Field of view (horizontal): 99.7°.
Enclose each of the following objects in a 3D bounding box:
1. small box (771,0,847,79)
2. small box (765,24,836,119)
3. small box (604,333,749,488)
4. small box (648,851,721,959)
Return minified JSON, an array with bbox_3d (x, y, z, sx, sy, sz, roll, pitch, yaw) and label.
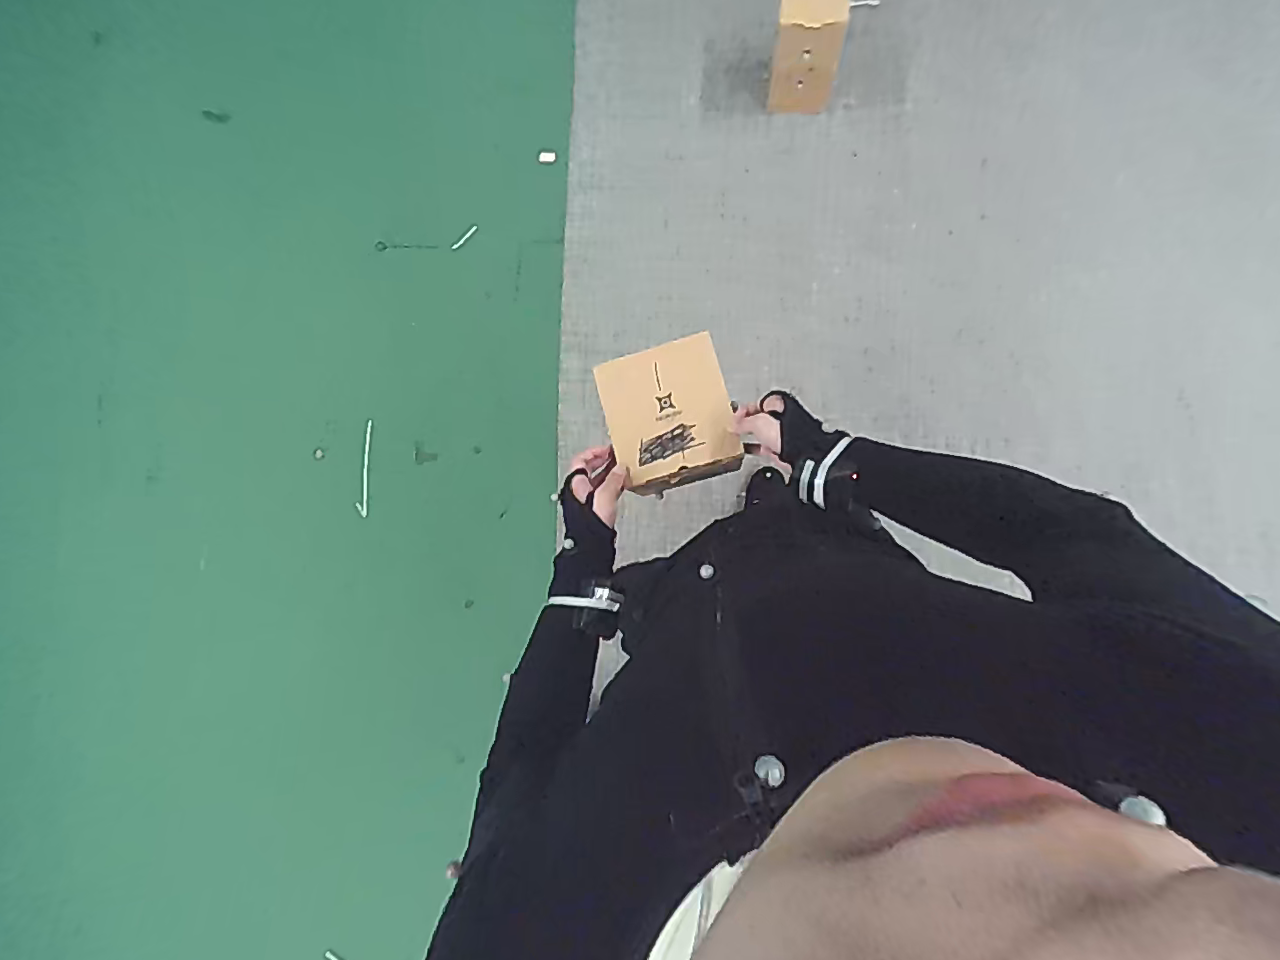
[{"bbox_3d":[0.436,-1.183,1.402,0.168,0.176,0.179,6,91,8],"label":"small box"},{"bbox_3d":[0.463,-1.182,1.564,0.179,0.176,0.168,7,90,7],"label":"small box"},{"bbox_3d":[0.058,-0.089,0.805,0.168,0.176,0.179,-15,82,6],"label":"small box"},{"bbox_3d":[0.116,1.079,1.353,0.168,0.176,0.179,2,87,8],"label":"small box"}]
